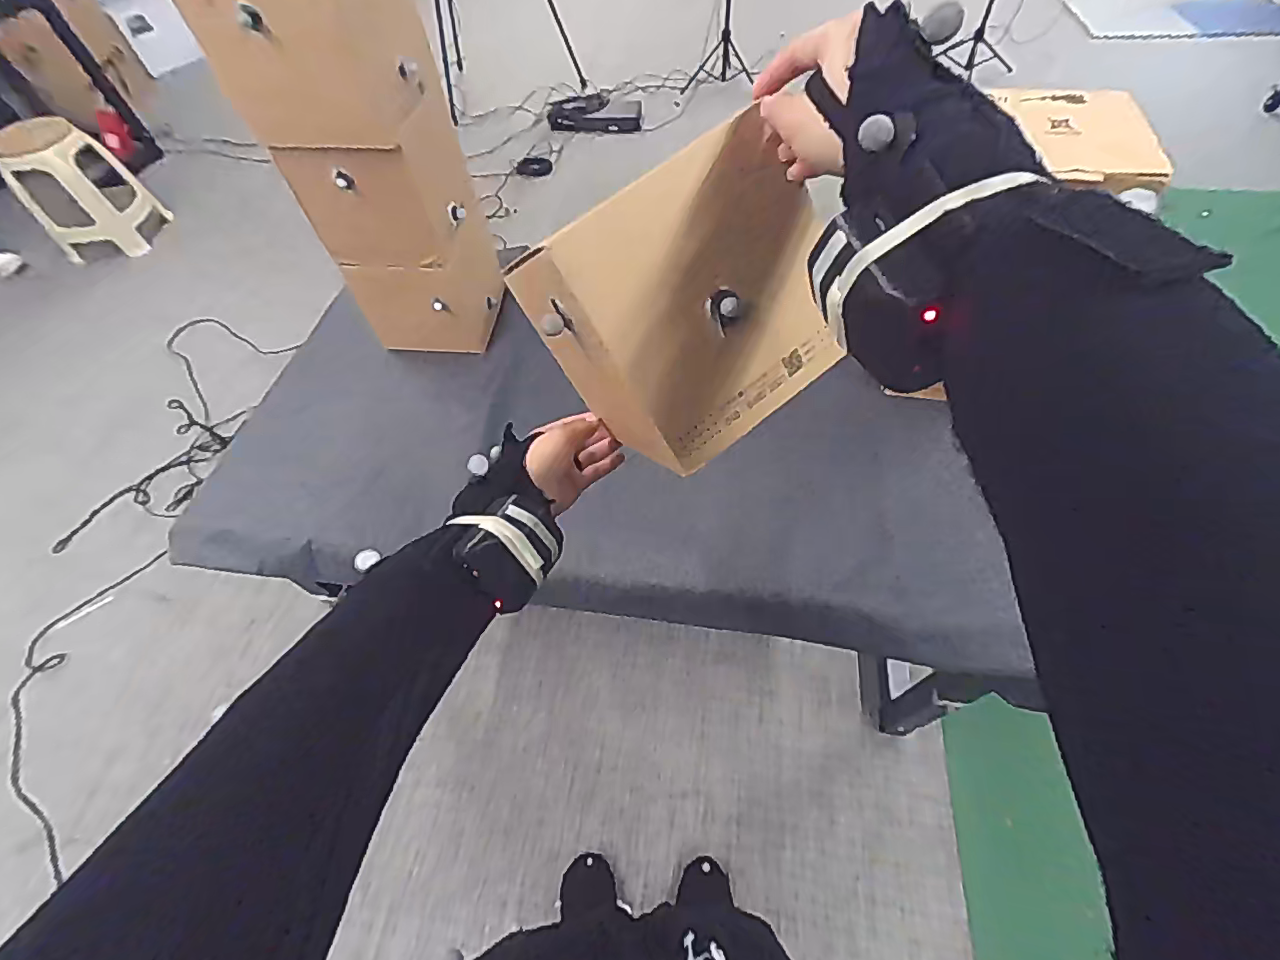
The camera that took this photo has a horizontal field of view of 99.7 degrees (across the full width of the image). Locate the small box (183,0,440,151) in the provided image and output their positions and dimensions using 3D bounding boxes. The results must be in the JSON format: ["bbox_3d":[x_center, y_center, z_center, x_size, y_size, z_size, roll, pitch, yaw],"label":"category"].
[{"bbox_3d":[-0.356,-0.495,0.604,0.179,0.176,0.168,5,59,5],"label":"small box"}]

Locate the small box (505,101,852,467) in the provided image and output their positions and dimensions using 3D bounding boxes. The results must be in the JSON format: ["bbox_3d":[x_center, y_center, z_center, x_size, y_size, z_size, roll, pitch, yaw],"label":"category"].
[{"bbox_3d":[0.025,-0.131,0.410,0.168,0.176,0.179,-38,25,-9],"label":"small box"}]

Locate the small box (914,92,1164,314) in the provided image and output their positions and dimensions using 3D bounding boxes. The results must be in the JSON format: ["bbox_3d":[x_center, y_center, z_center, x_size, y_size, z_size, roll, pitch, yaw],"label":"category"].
[{"bbox_3d":[0.436,-0.316,0.629,0.168,0.176,0.179,8,59,9],"label":"small box"}]

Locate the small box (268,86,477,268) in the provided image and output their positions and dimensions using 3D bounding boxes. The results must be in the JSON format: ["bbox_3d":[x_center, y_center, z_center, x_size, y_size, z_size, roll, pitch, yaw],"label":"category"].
[{"bbox_3d":[-0.350,-0.415,0.748,0.179,0.176,0.168,3,59,4],"label":"small box"}]
